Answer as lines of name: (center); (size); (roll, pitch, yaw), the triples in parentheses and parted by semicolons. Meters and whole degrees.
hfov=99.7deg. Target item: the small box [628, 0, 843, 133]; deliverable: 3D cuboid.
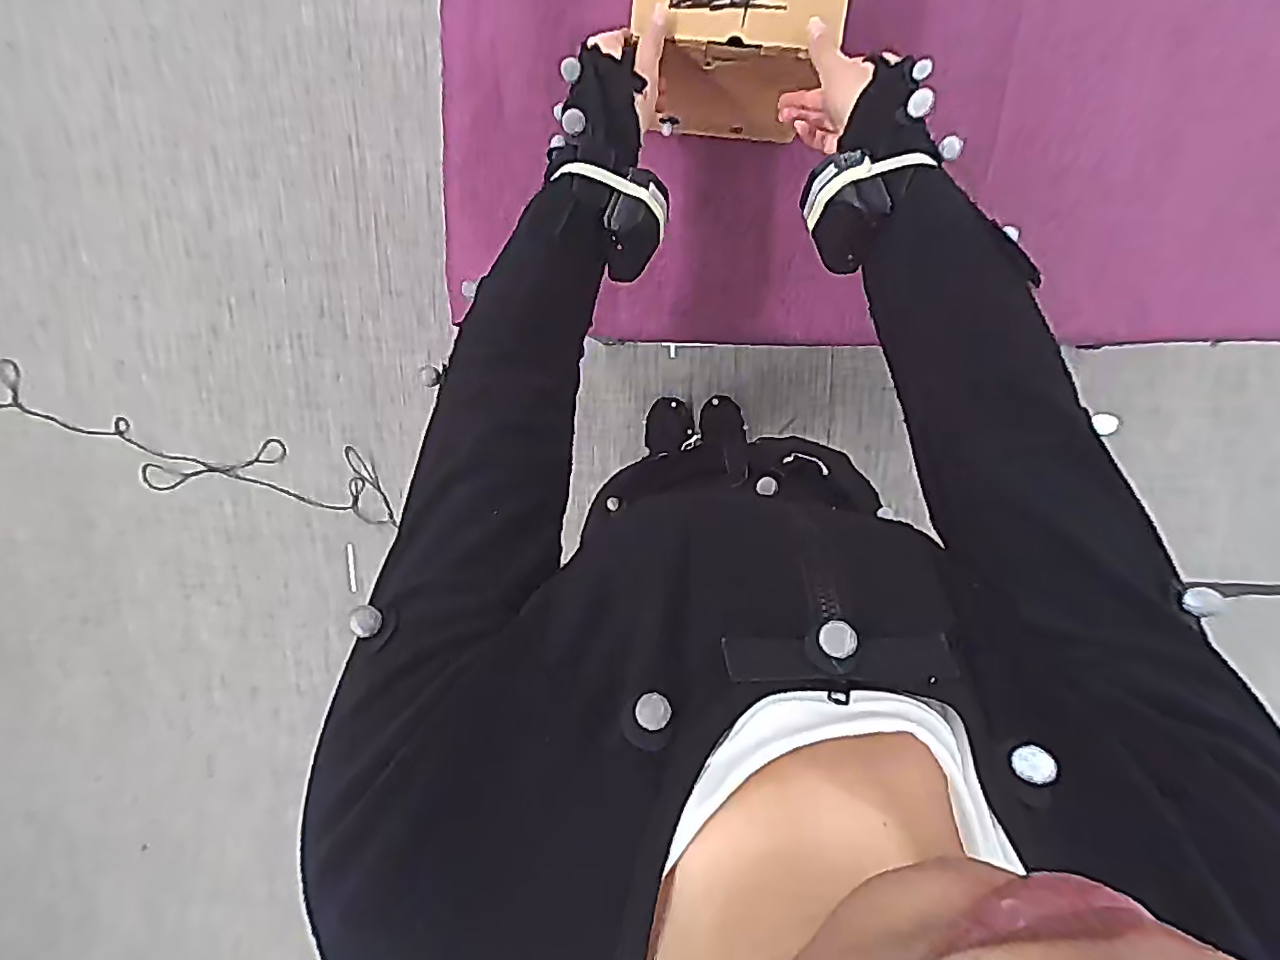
small box: (0.084, -0.441, 0.482); (0.168, 0.176, 0.179); (6, 101, 1)
